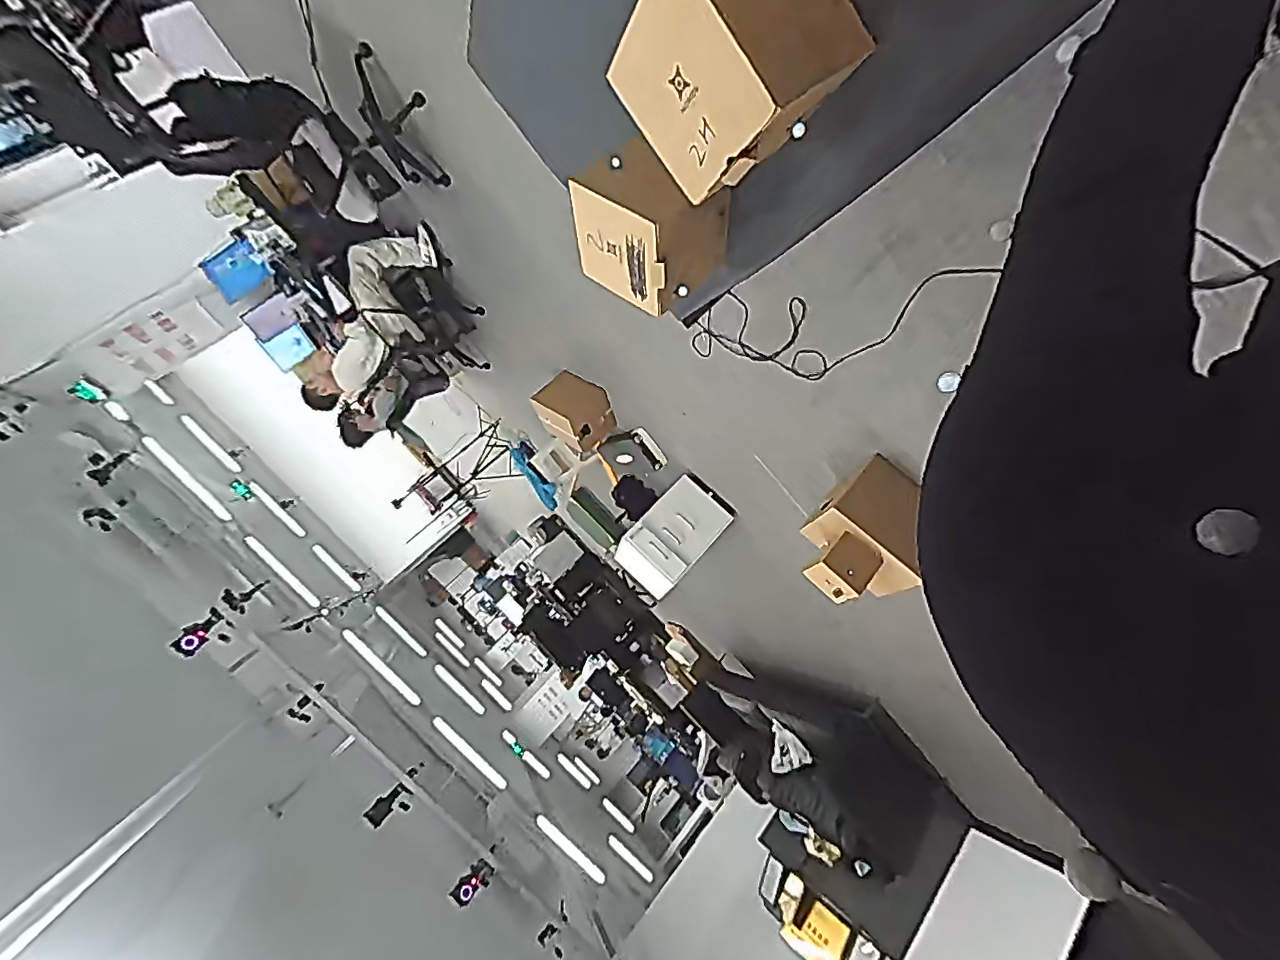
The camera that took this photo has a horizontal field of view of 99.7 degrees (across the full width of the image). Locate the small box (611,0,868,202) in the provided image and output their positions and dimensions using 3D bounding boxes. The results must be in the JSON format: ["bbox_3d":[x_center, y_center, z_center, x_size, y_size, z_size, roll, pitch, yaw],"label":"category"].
[{"bbox_3d":[0.105,-0.455,0.589,0.179,0.176,0.168,51,160,-11],"label":"small box"}]

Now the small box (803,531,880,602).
[{"bbox_3d":[0.746,0.320,1.998,0.179,0.176,0.168,43,157,9],"label":"small box"}]
